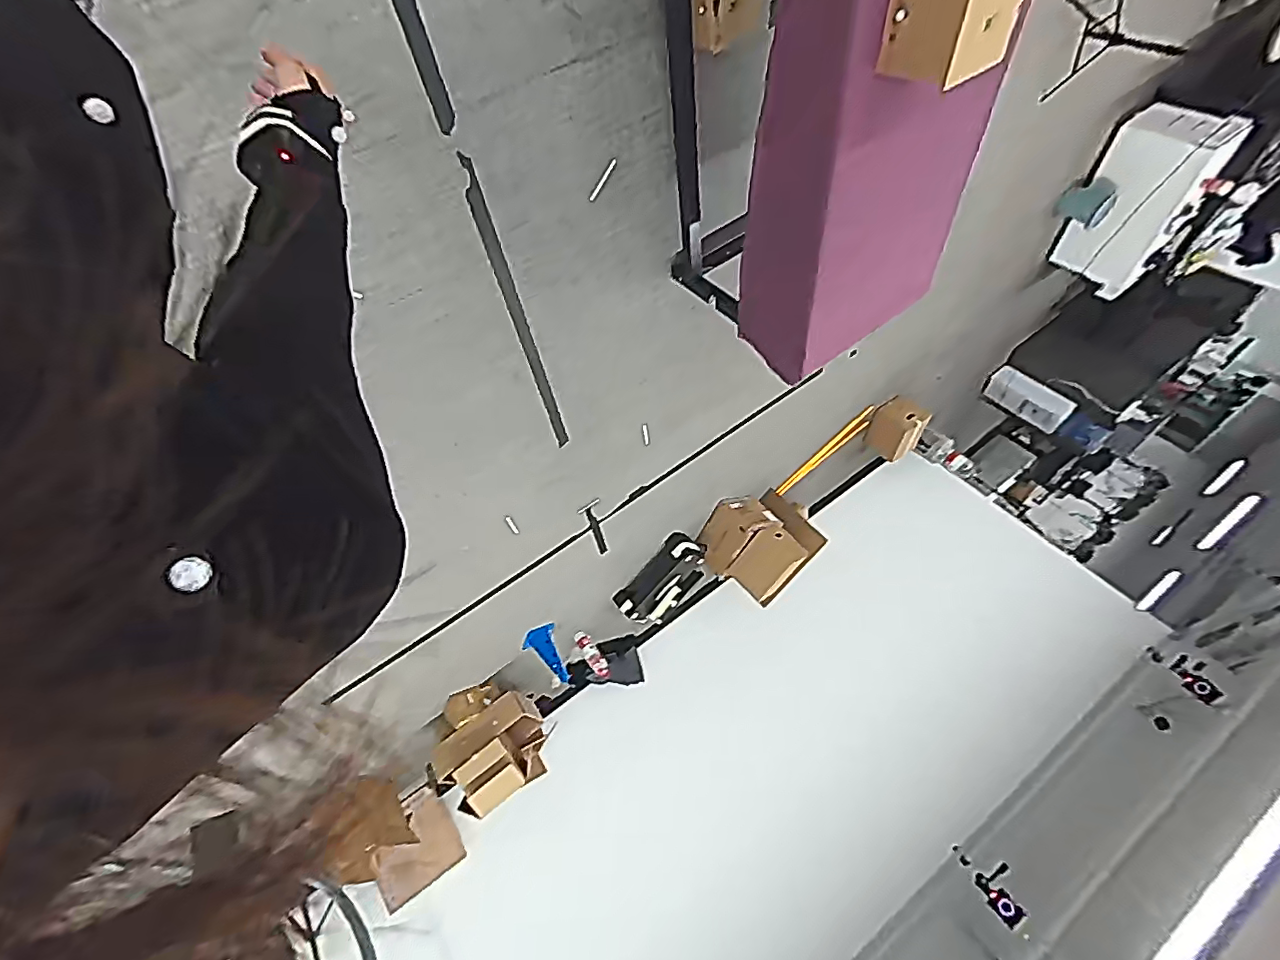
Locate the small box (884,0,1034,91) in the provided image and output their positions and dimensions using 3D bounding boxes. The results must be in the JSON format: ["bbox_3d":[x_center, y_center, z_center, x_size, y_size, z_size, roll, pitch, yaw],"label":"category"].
[{"bbox_3d":[0.599,-0.870,1.010,0.179,0.176,0.168,-32,147,-14],"label":"small box"}]
